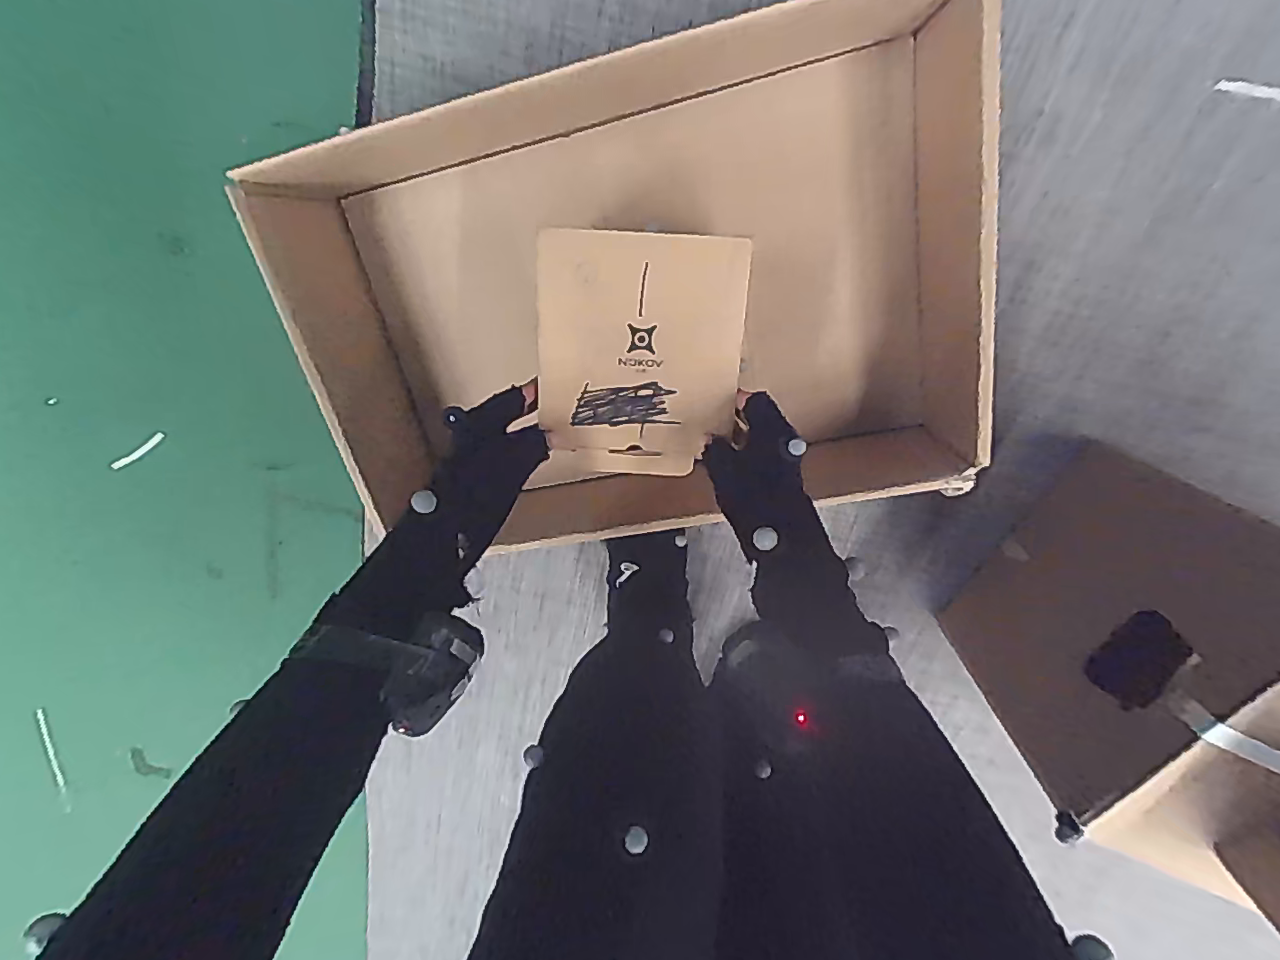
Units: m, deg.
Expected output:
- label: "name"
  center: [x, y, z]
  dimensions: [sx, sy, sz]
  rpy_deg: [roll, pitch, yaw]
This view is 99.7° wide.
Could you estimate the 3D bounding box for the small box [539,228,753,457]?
- label: "small box"
  center: [0.002, -0.130, 0.511]
  dimensions: [0.168, 0.176, 0.179]
  rpy_deg: [2, 108, 0]
